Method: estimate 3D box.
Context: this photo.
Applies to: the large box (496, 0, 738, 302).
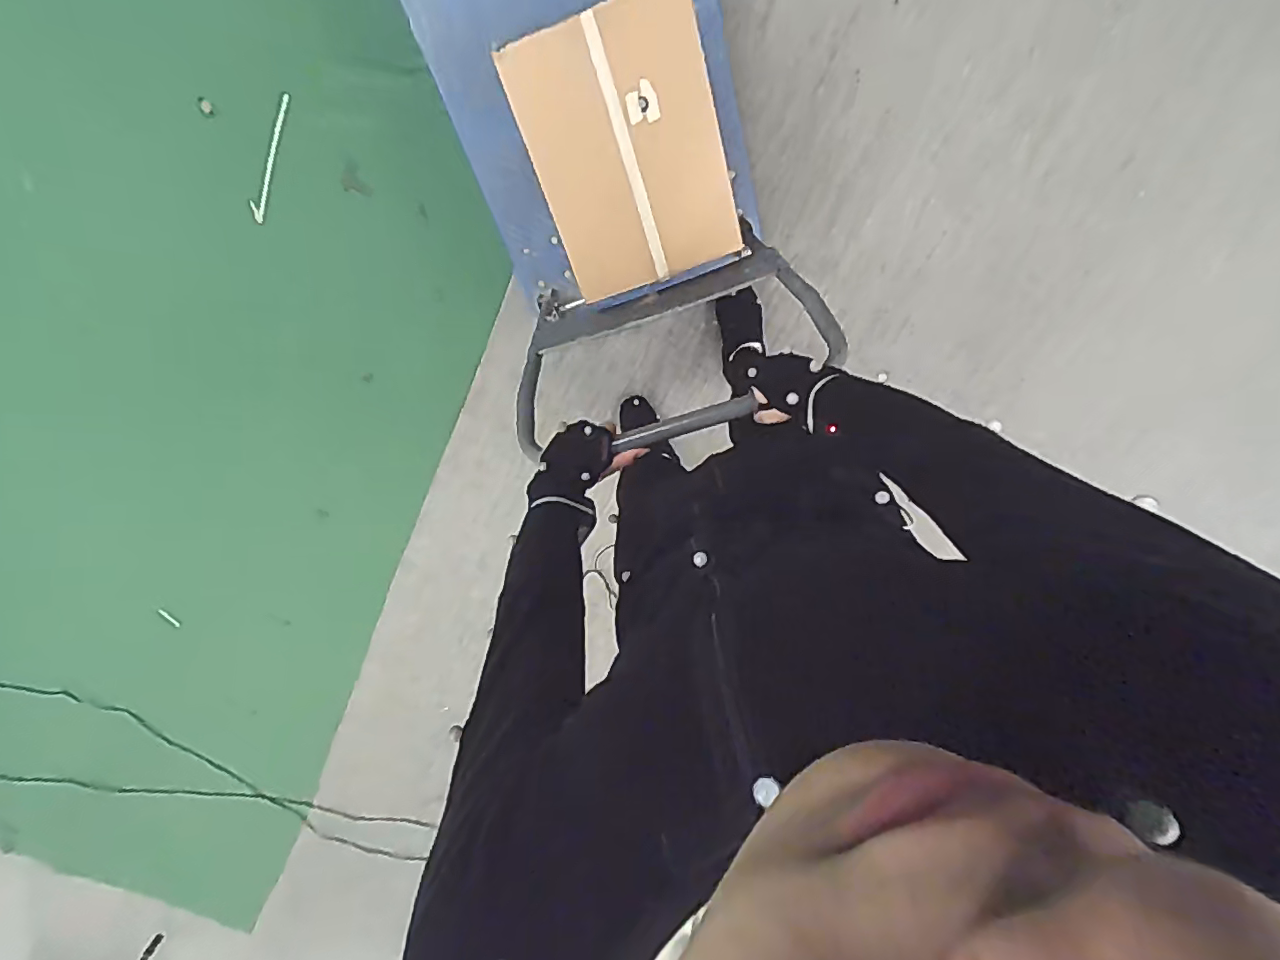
[{"bbox_3d":[-0.025,-0.623,1.060,0.320,0.320,0.408,-16,121,8],"label":"large box"}]
